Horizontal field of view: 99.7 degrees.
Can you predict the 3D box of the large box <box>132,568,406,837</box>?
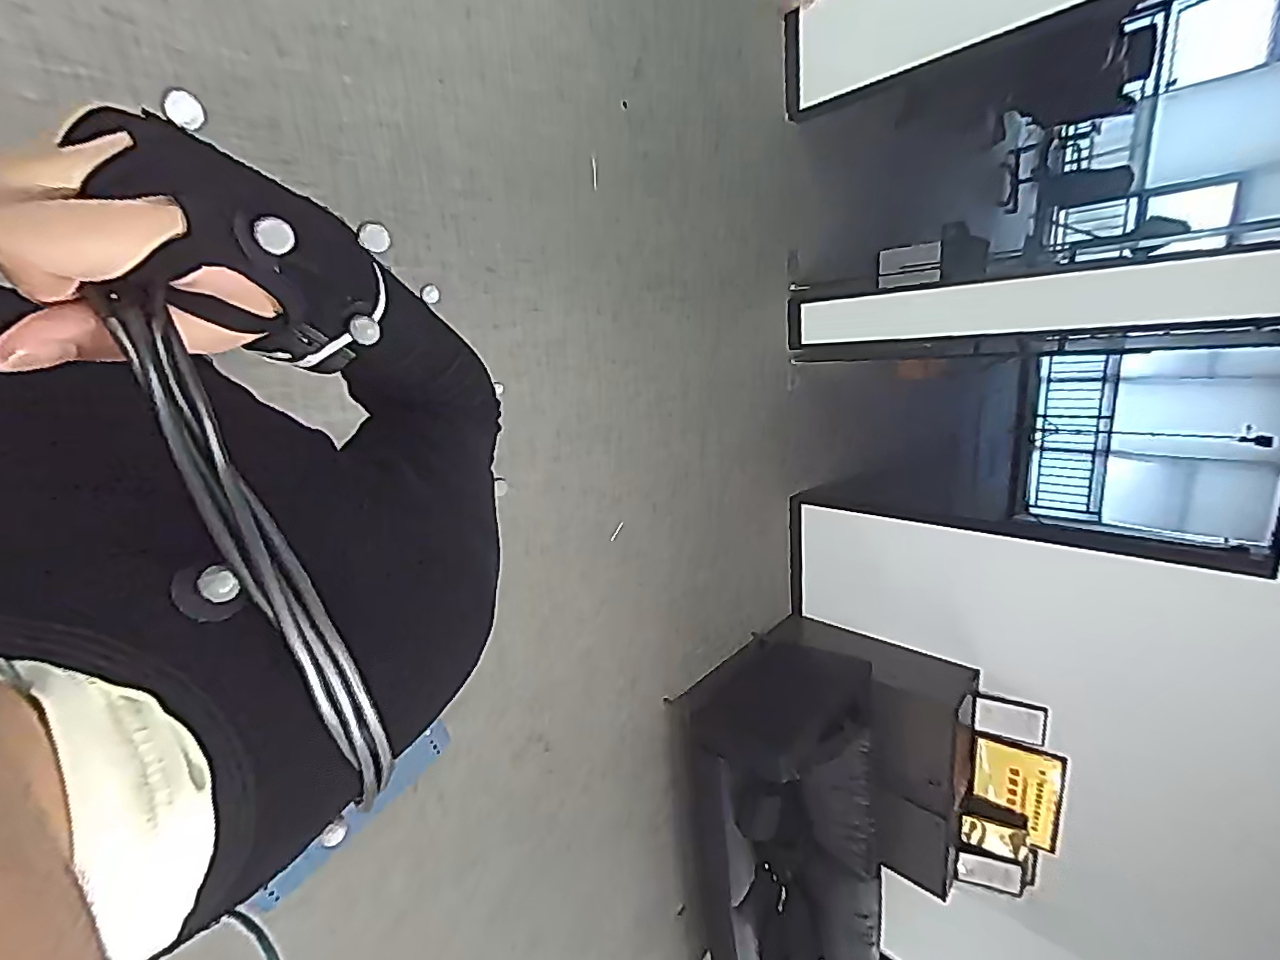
[{"bbox_3d":[-0.809,0.469,1.203,0.320,0.320,0.408,-36,123,-37],"label":"large box"}]
